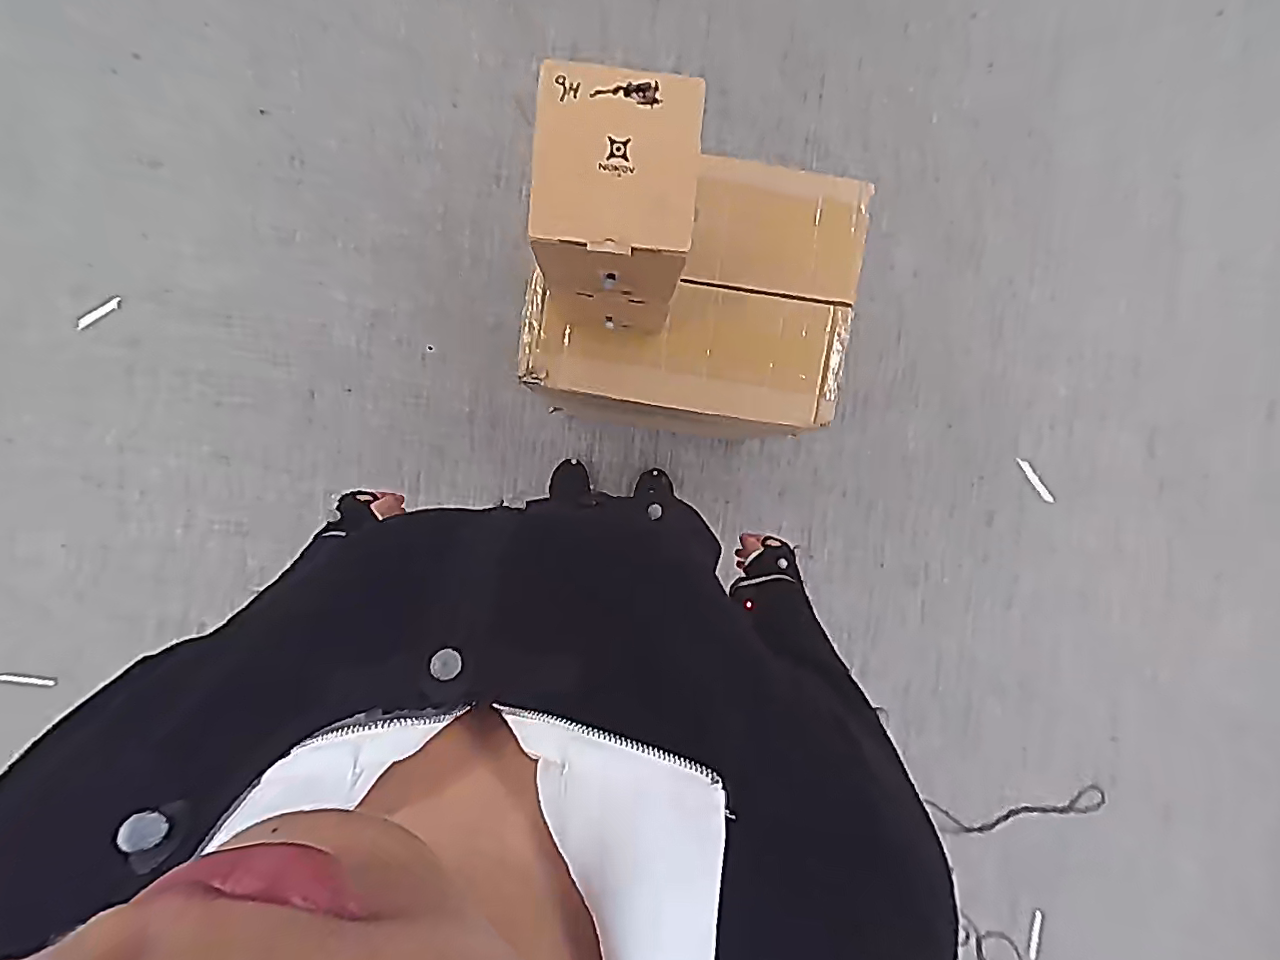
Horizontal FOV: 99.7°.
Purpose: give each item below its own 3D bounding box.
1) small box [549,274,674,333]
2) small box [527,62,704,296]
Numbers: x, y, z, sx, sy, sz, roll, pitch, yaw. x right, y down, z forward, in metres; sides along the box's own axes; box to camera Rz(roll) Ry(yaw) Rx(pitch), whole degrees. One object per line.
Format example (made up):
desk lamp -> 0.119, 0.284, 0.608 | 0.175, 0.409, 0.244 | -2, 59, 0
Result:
small box -> -0.032, -0.327, 0.783 | 0.168, 0.176, 0.179 | 7, 92, -2
small box -> -0.027, -0.323, 0.619 | 0.168, 0.176, 0.179 | 5, 93, -3
